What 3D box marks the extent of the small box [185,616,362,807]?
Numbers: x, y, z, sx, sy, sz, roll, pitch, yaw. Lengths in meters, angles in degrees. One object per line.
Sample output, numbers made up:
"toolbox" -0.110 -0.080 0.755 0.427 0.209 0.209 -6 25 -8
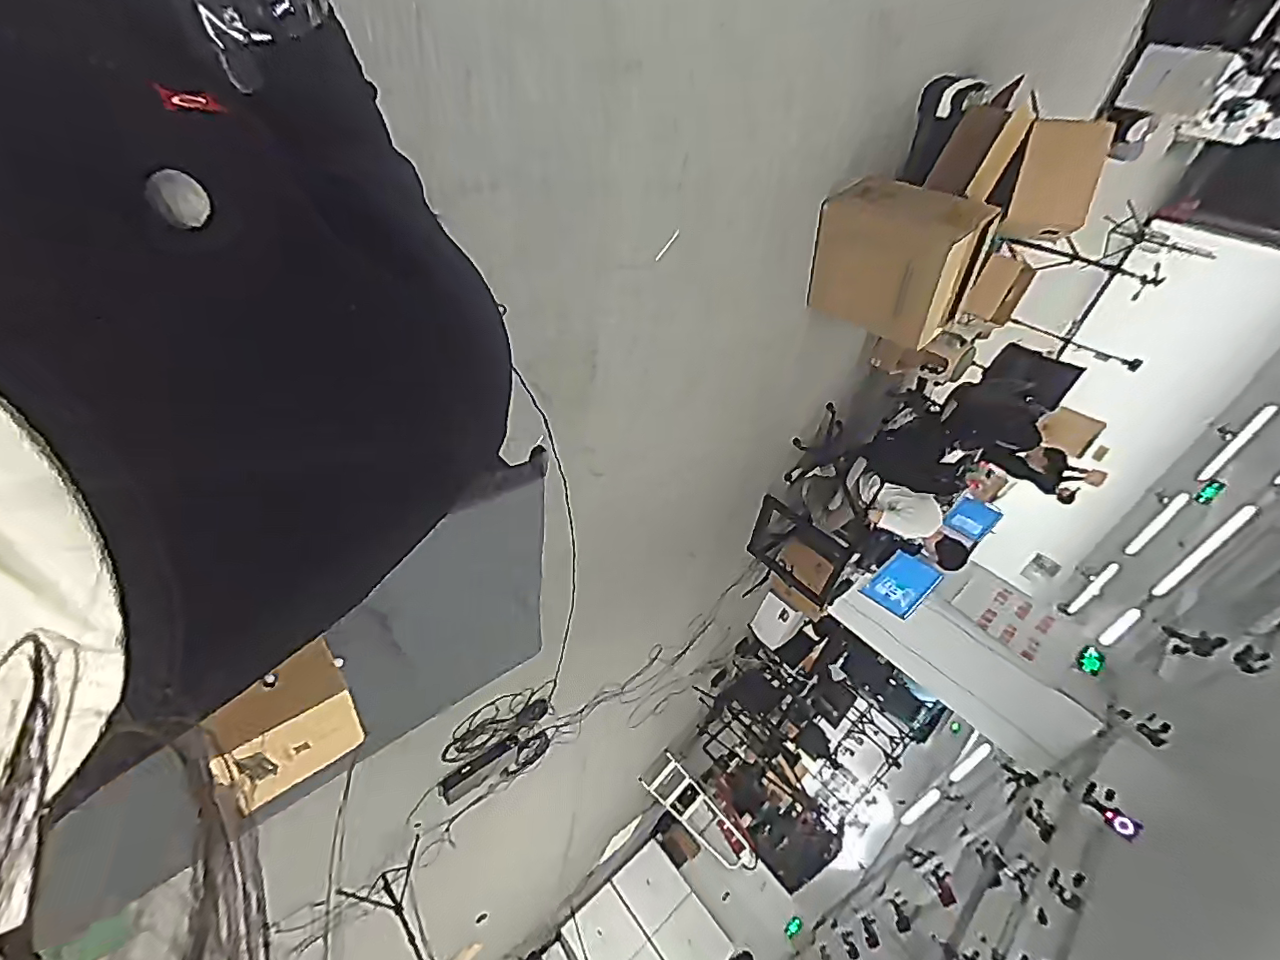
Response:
"small box" -0.565 0.349 0.836 0.179 0.176 0.168 -25 140 -33
